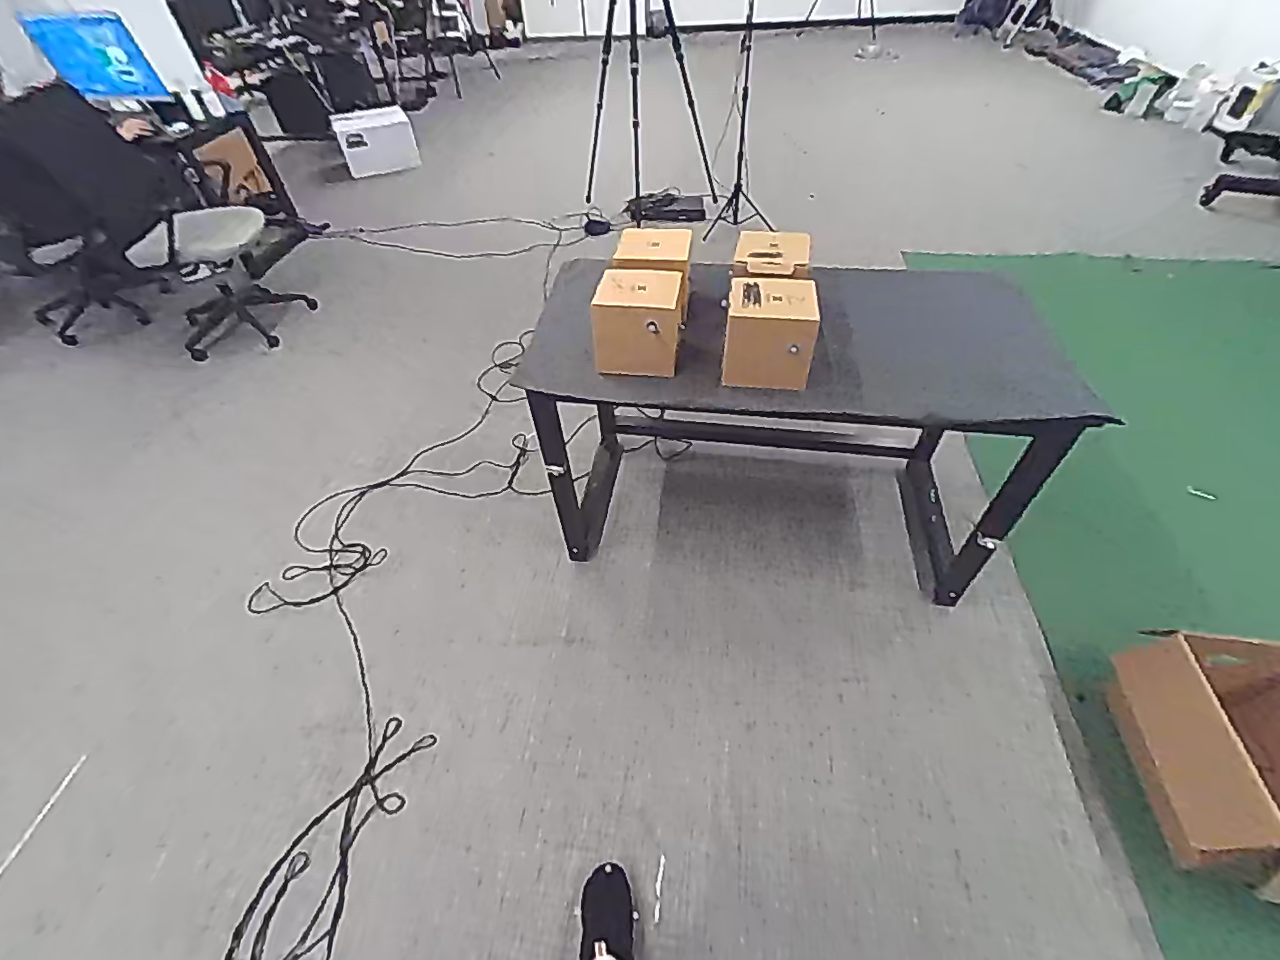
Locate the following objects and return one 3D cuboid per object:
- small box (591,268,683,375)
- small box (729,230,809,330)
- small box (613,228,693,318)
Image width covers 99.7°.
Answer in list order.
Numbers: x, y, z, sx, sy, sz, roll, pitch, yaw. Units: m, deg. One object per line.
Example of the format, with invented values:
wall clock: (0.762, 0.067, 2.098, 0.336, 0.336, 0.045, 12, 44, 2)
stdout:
small box: (-0.001, -0.349, 1.200, 0.179, 0.176, 0.168, 5, 46, 8)
small box: (0.309, -0.481, 1.306, 0.168, 0.176, 0.179, 8, 48, 11)
small box: (0.037, -0.509, 1.352, 0.179, 0.176, 0.168, 3, 48, 8)
